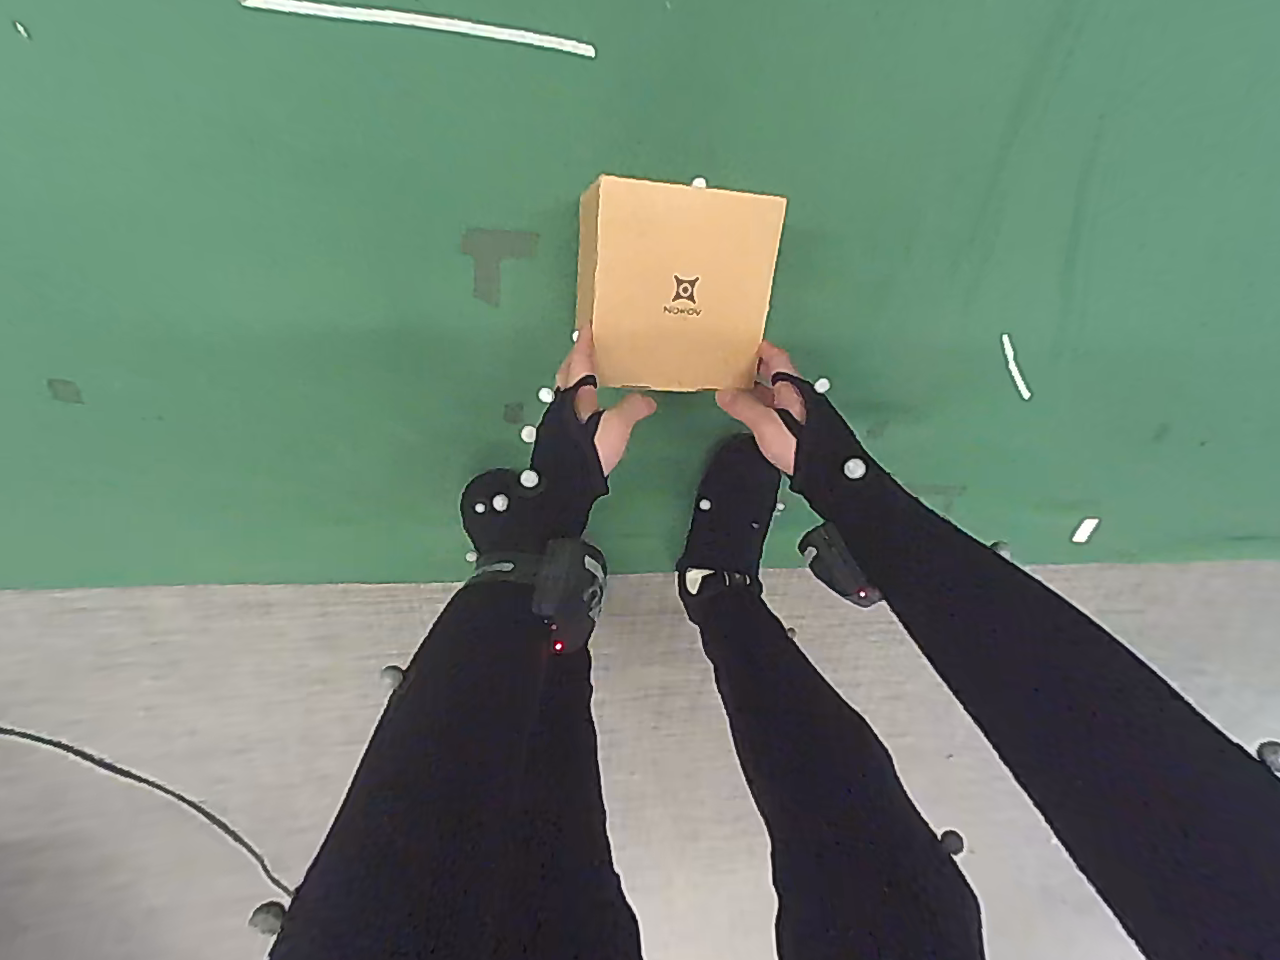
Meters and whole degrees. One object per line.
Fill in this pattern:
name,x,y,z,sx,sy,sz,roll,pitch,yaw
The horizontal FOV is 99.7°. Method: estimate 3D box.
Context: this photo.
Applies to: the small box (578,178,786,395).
small box,0.026,-0.195,0.556,0.168,0.176,0.179,0,114,-12
